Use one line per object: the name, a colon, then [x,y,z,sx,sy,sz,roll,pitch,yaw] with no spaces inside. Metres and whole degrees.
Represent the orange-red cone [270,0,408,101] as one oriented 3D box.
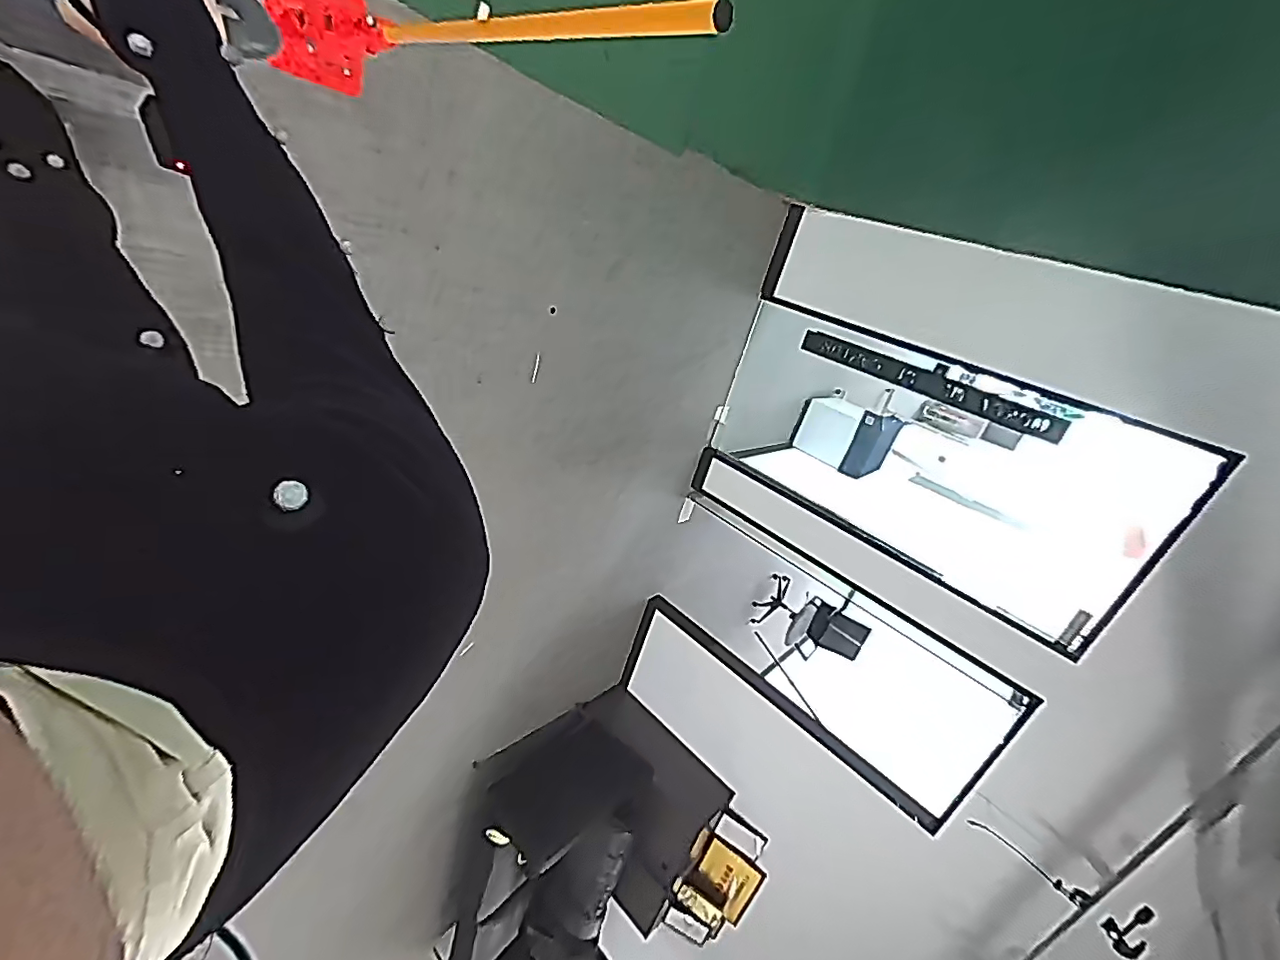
orange-red cone: [-0.569,-0.892,1.083,0.198,0.360,0.199,-11,125,-49]
